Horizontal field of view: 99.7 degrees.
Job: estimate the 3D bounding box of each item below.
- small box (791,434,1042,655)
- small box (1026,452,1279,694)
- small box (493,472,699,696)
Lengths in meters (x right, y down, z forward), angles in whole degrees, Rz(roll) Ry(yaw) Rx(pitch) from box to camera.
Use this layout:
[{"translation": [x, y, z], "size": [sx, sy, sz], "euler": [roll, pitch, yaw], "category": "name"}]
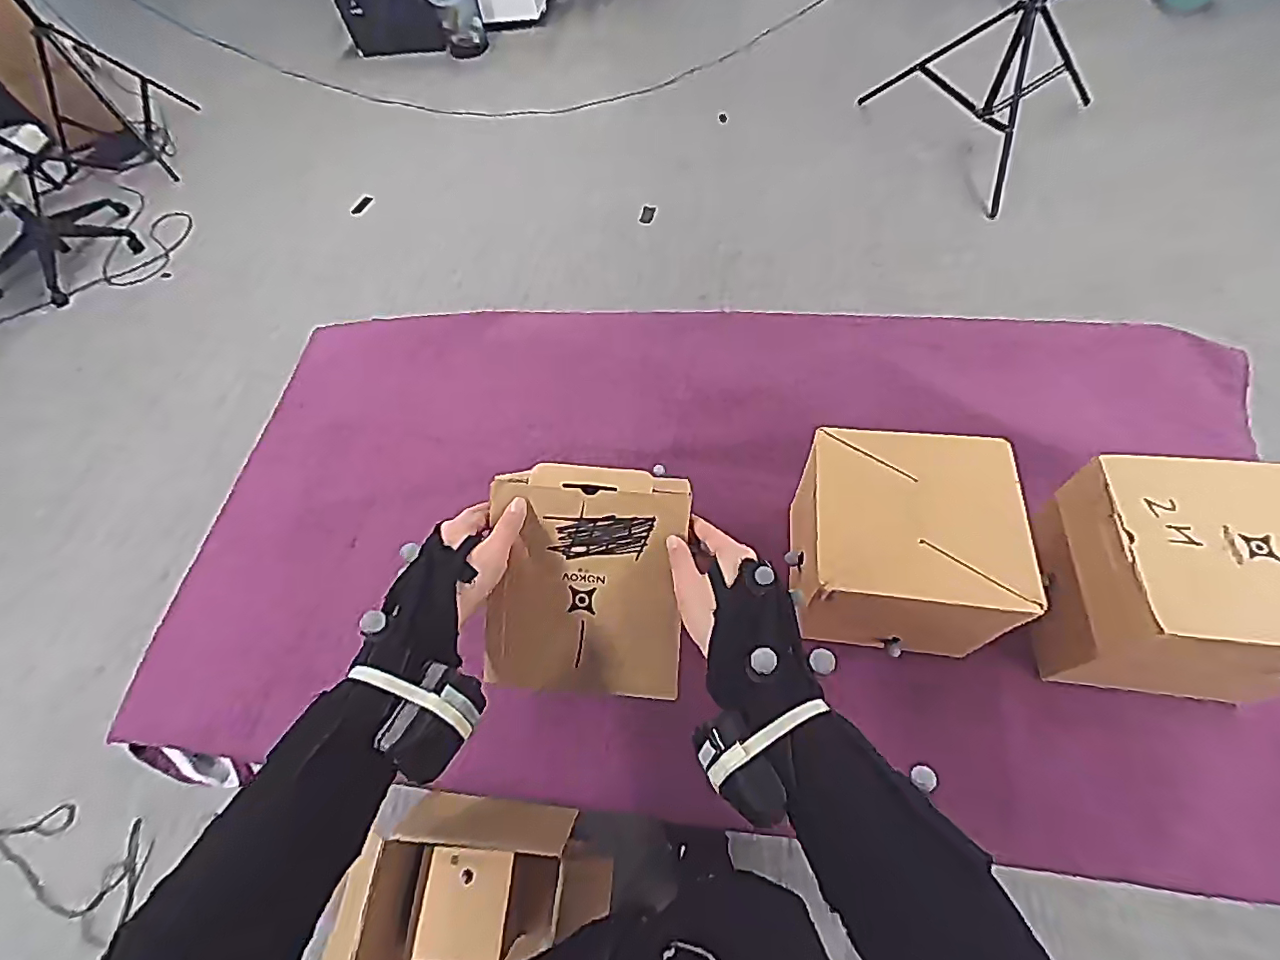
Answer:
[{"translation": [0.255, 0.066, 0.549], "size": [0.179, 0.176, 0.168], "euler": [4, 59, 10], "category": "small box"}, {"translation": [0.495, 0.094, 0.506], "size": [0.179, 0.176, 0.168], "euler": [5, 58, 9], "category": "small box"}, {"translation": [-0.033, 0.085, 0.531], "size": [0.168, 0.176, 0.179], "euler": [4, 94, 4], "category": "small box"}]
